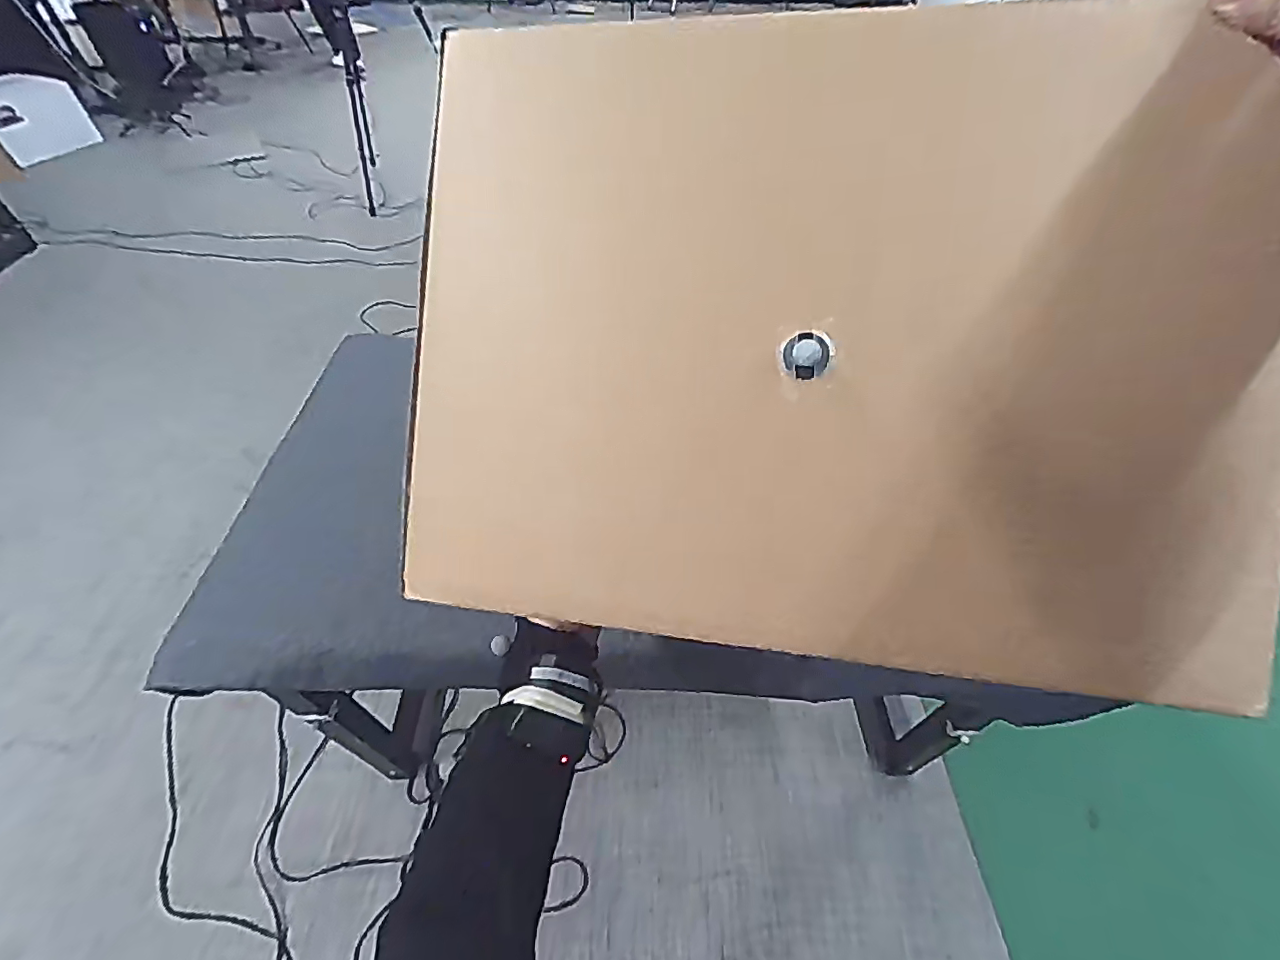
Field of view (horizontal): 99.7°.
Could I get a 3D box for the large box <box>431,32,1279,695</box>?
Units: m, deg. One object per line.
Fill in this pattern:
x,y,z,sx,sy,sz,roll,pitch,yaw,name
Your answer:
0.107,-0.063,0.417,0.408,0.320,0.320,4,91,9,large box
